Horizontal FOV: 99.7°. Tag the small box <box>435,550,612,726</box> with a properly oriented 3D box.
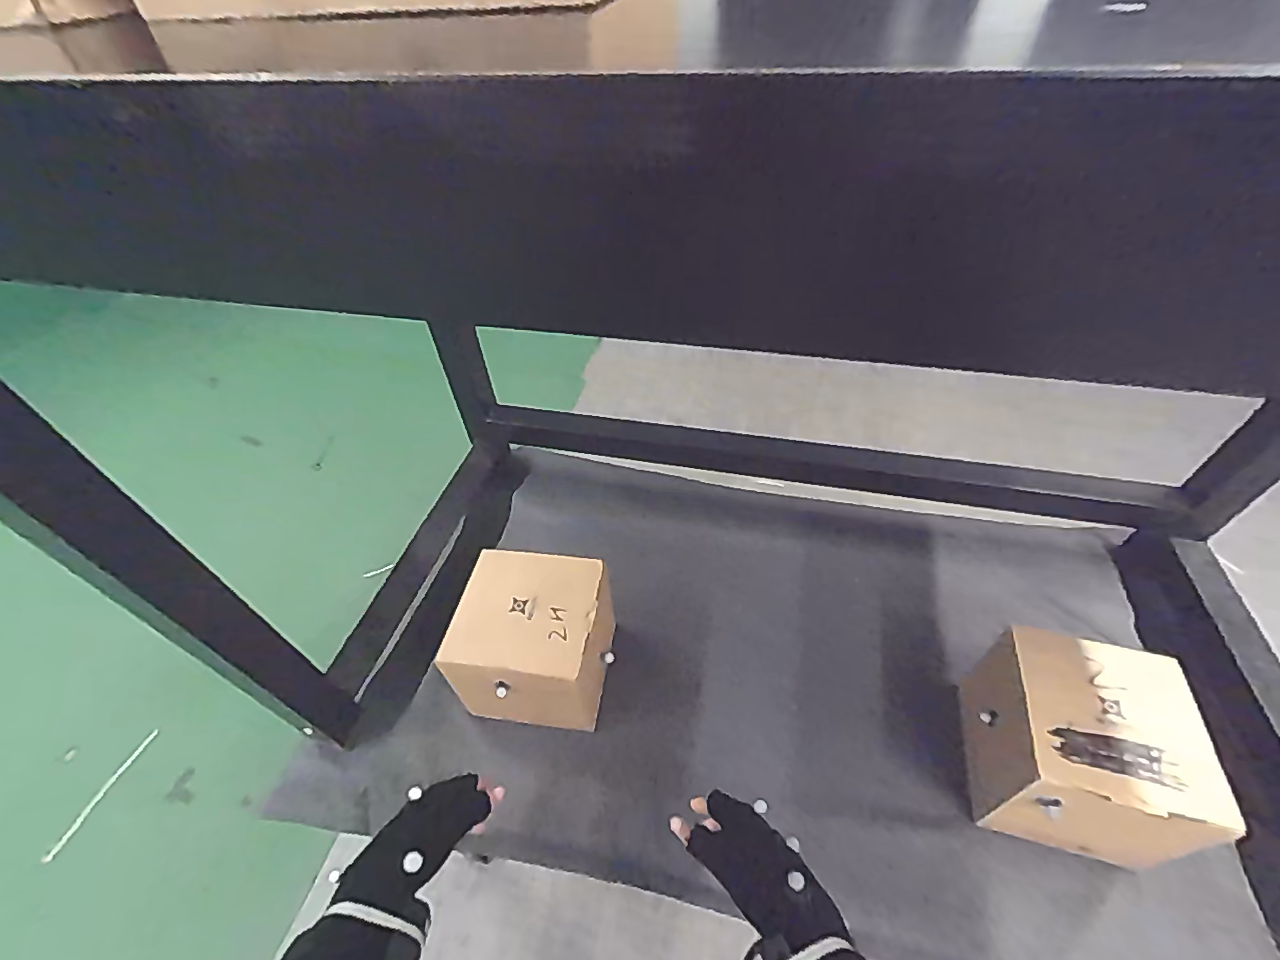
[{"bbox_3d":[-0.142,0.216,0.736,0.179,0.176,0.168,5,47,8],"label":"small box"}]

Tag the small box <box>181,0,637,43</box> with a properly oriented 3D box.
[{"bbox_3d":[-0.083,-0.263,0.181,0.168,0.176,0.179,7,46,10],"label":"small box"}]
